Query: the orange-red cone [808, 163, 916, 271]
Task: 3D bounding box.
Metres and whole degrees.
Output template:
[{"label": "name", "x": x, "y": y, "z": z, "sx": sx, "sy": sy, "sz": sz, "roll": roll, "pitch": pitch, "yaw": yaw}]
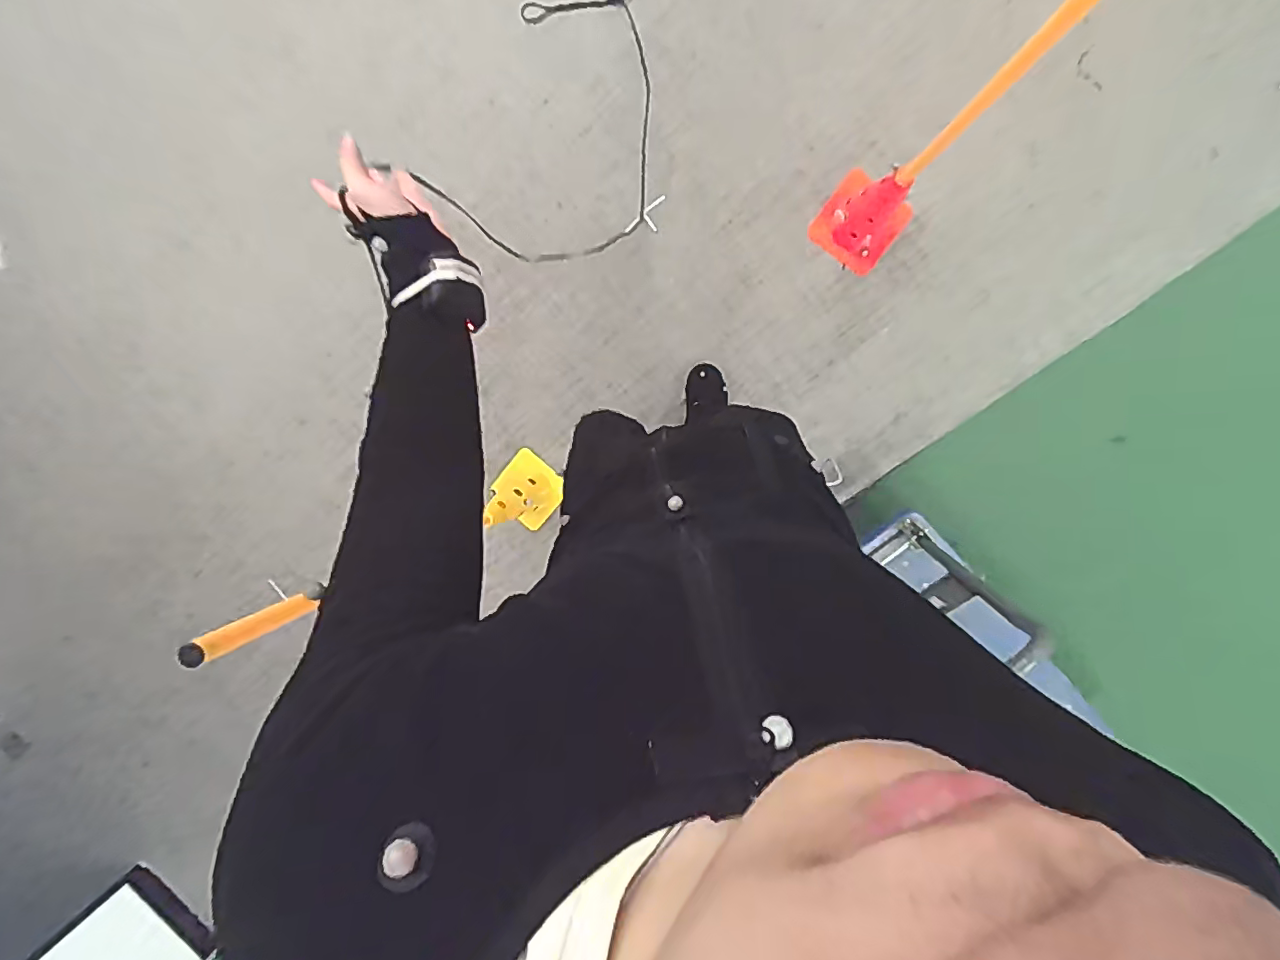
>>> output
[{"label": "orange-red cone", "x": 0.546, "y": -0.643, "z": 1.239, "sx": 0.198, "sy": 0.360, "sz": 0.199, "roll": 37, "pitch": 102, "yaw": -2}]
